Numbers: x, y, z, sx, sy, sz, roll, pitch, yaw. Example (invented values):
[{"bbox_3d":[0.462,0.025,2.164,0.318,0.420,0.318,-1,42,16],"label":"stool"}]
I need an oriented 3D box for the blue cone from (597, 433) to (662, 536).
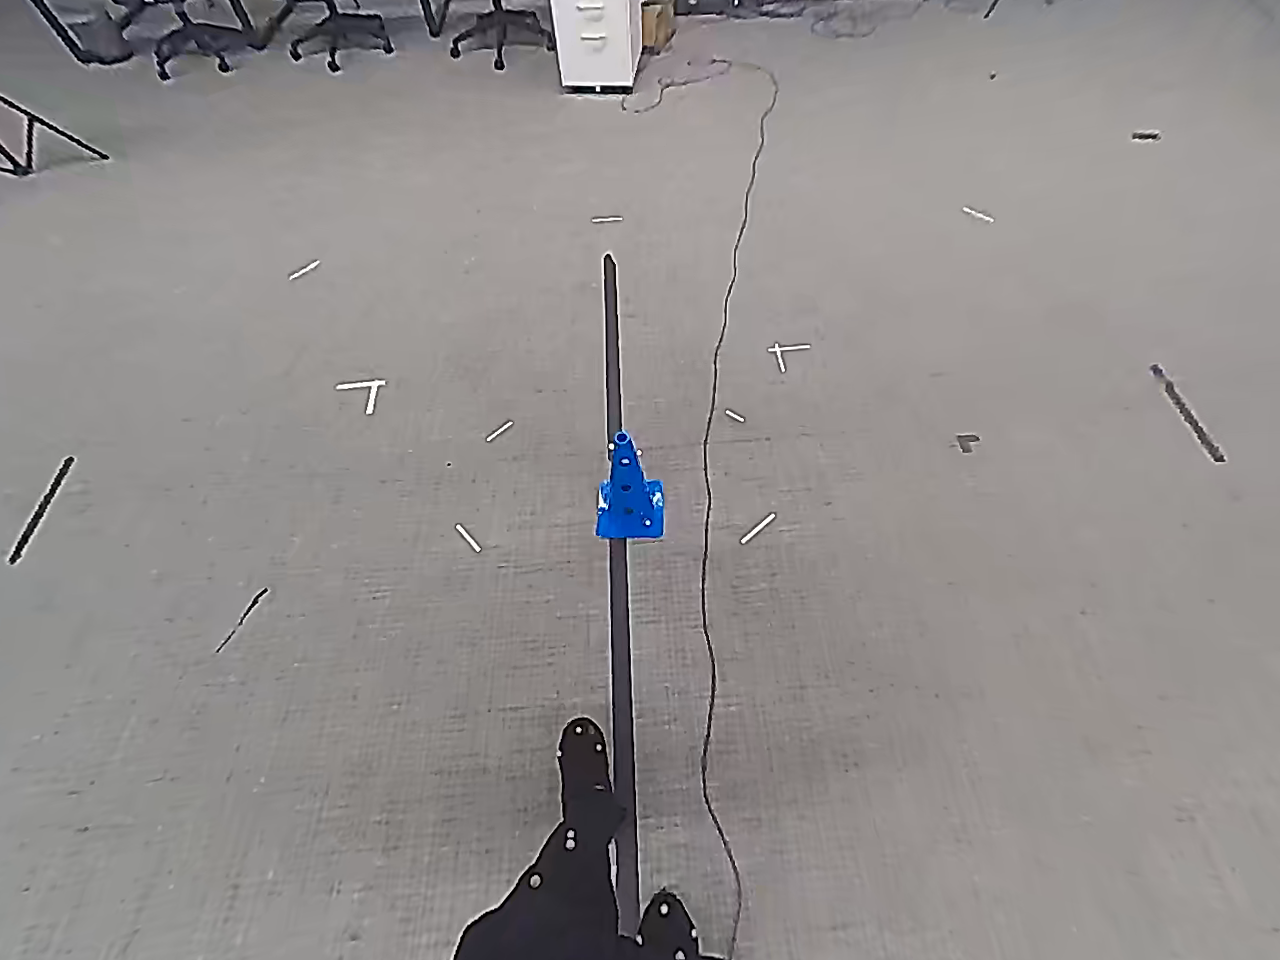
[{"bbox_3d":[-0.035,-0.009,1.477,0.193,0.380,0.192,-1,57,1],"label":"blue cone"}]
